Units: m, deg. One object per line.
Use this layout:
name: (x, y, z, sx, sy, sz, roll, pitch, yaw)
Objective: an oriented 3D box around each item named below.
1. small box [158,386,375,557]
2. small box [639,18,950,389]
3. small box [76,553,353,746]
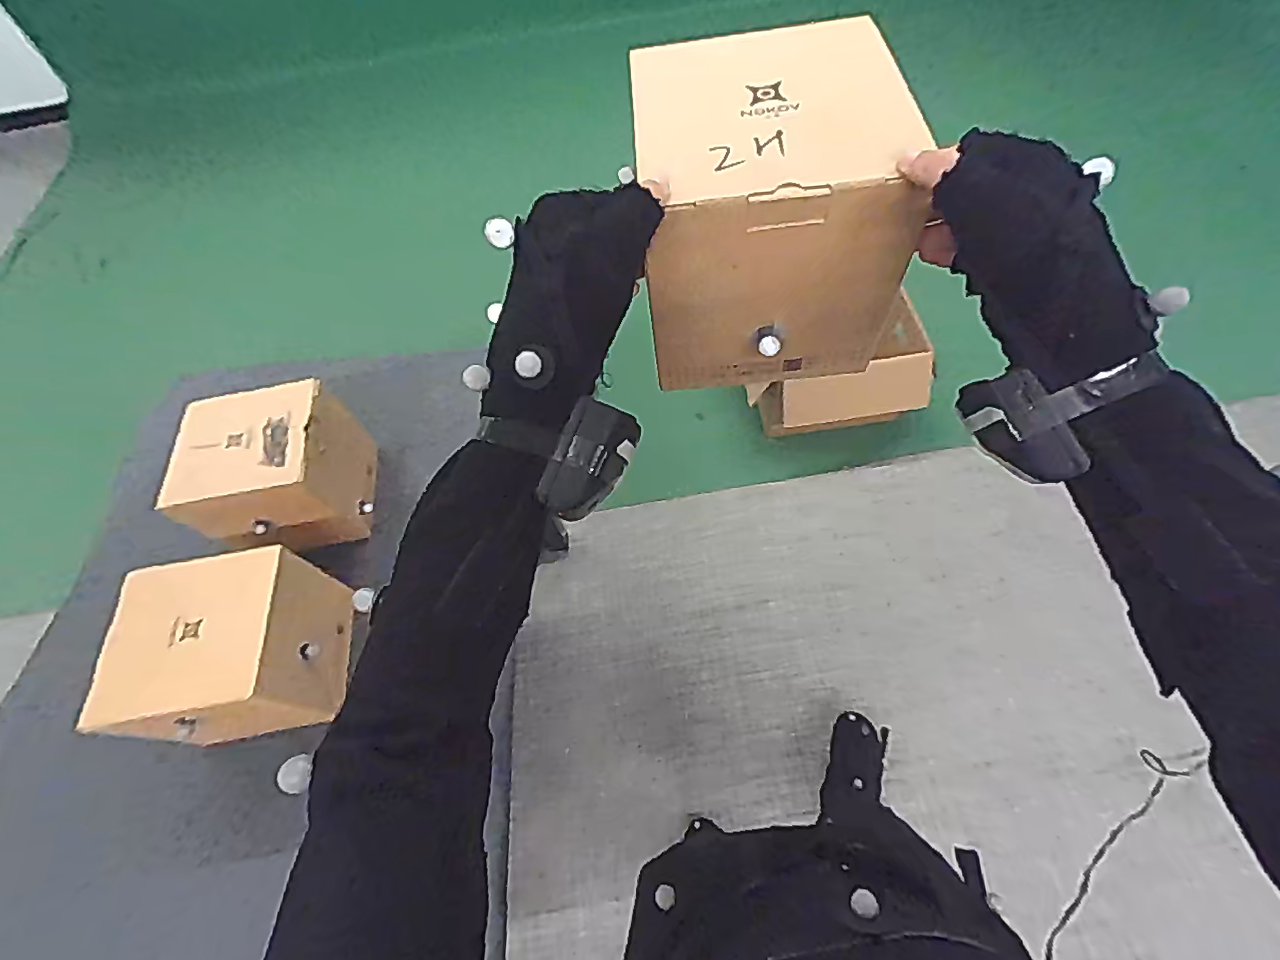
small box: (-0.495, -0.003, 0.750, 0.179, 0.176, 0.168, -11, 60, 0)
small box: (0.089, -0.191, 0.398, 0.168, 0.176, 0.179, -5, 61, 6)
small box: (-0.465, 0.204, 0.630, 0.179, 0.176, 0.168, -11, 60, 0)
